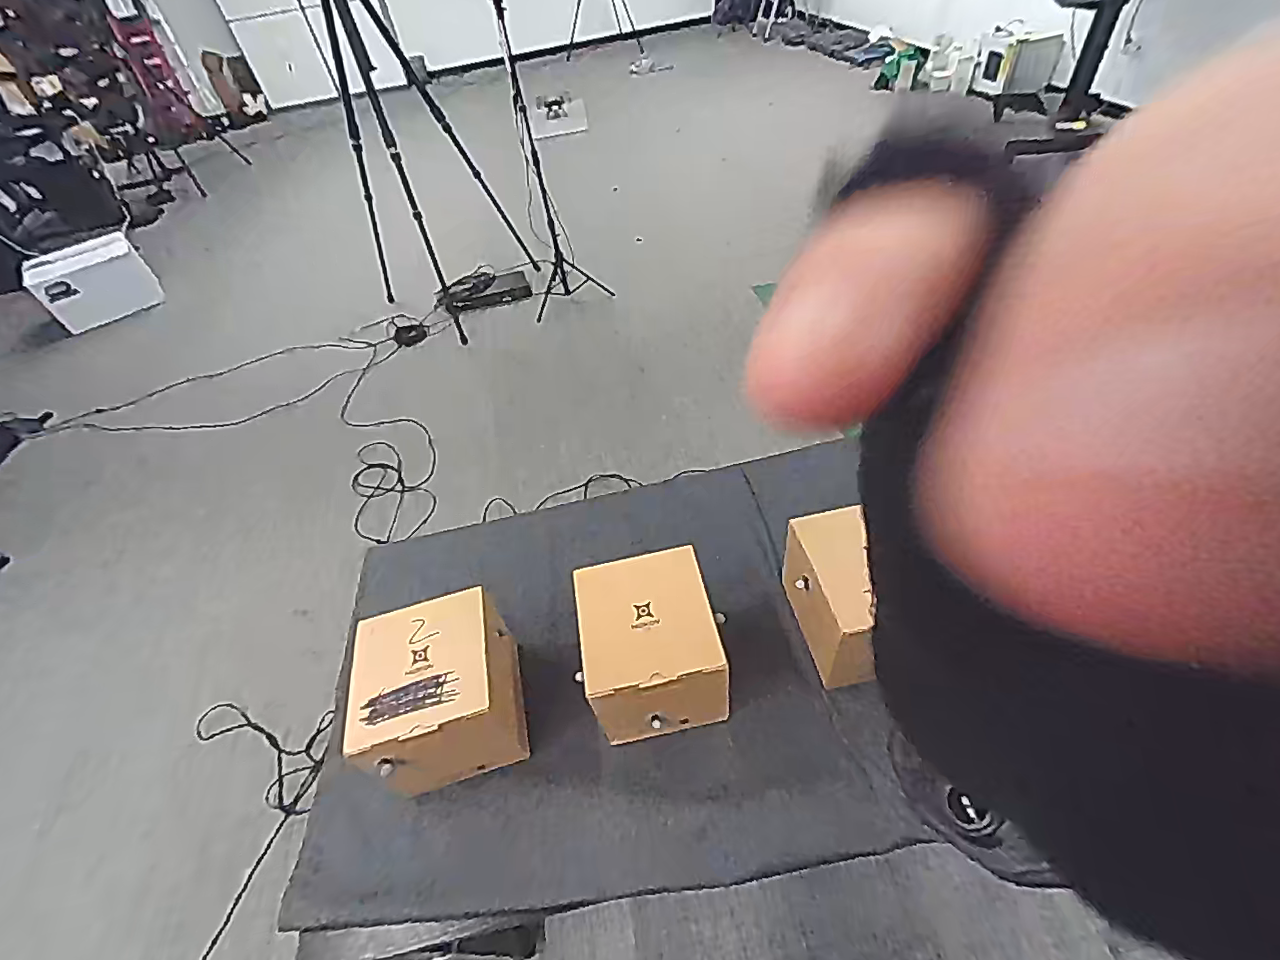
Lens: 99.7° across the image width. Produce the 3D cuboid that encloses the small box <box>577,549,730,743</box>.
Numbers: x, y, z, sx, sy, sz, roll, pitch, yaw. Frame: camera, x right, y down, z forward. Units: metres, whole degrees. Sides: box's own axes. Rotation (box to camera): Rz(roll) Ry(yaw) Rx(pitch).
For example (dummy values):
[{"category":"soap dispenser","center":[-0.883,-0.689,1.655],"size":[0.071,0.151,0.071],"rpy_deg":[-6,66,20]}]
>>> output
[{"category":"small box","center":[0.016,0.222,0.724],"size":[0.168,0.176,0.179],"rpy_deg":[-12,48,-3]}]

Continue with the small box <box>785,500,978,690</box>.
[{"category":"small box","center":[0.307,0.157,0.737],"size":[0.168,0.176,0.179],"rpy_deg":[-12,47,-1]}]
